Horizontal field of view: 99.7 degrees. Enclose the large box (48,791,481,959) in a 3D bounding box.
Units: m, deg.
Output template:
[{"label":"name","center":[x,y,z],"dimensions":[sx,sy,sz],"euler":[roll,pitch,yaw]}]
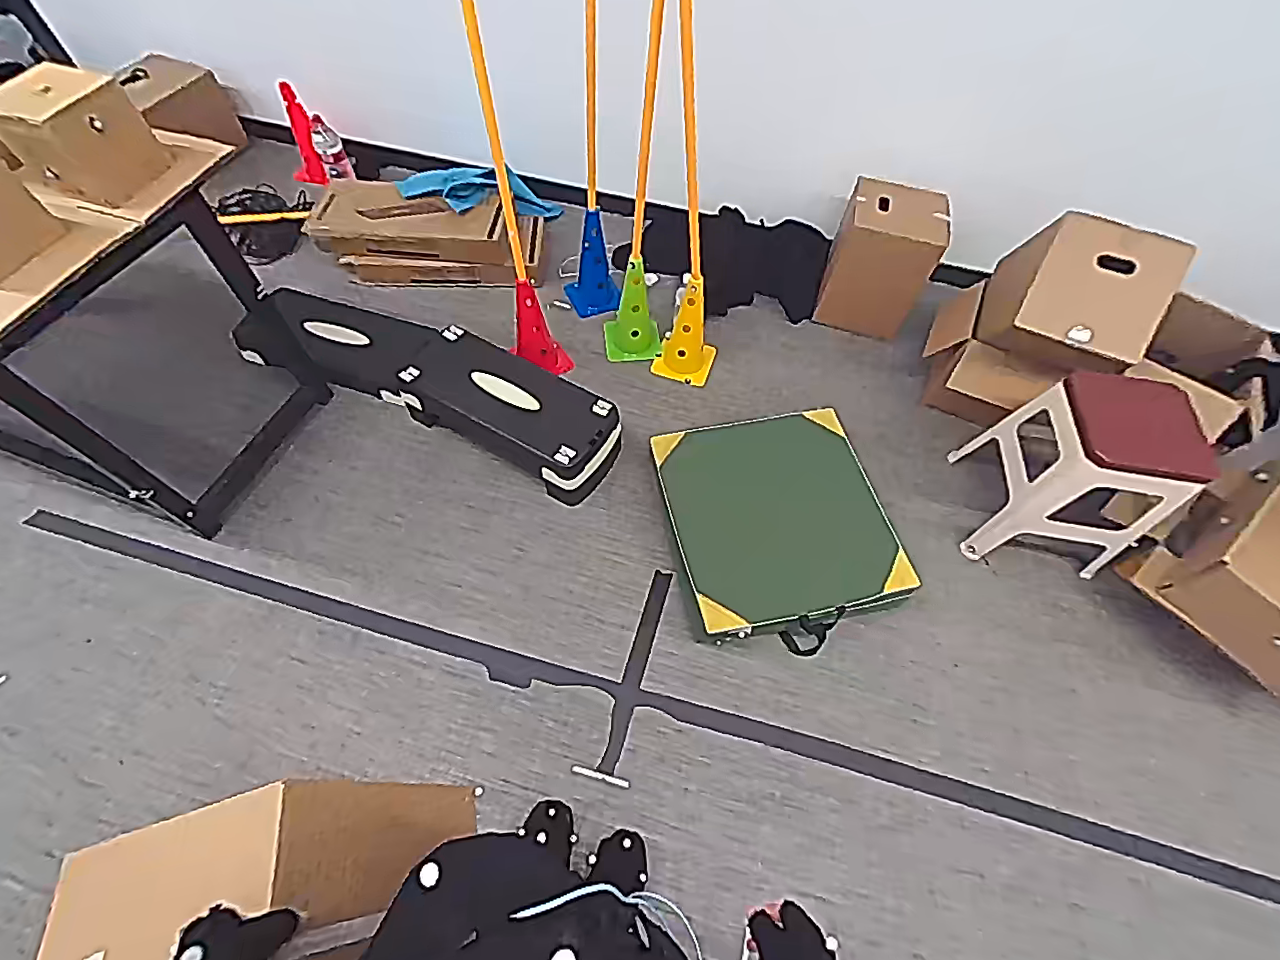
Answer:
[{"label":"large box","center":[-0.456,0.628,0.718],"dimensions":[0.320,0.408,0.320],"euler":[-18,57,6]}]
